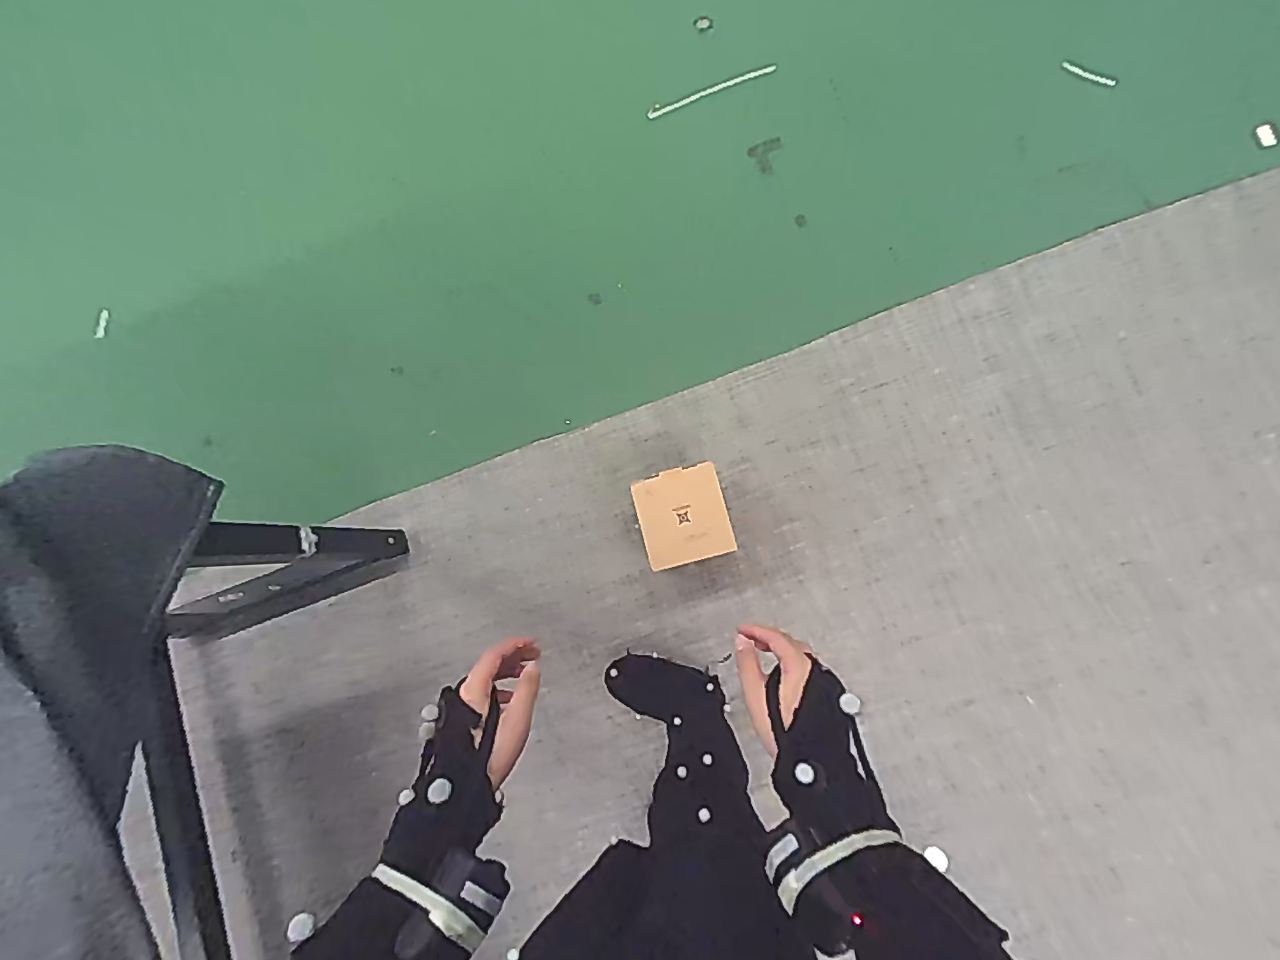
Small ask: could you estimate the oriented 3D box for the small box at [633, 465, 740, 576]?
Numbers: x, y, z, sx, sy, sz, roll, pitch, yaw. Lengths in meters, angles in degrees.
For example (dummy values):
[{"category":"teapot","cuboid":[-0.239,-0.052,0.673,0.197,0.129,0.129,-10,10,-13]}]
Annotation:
[{"category":"small box","cuboid":[0.091,0.084,1.082,0.168,0.176,0.179,-16,82,4]}]
